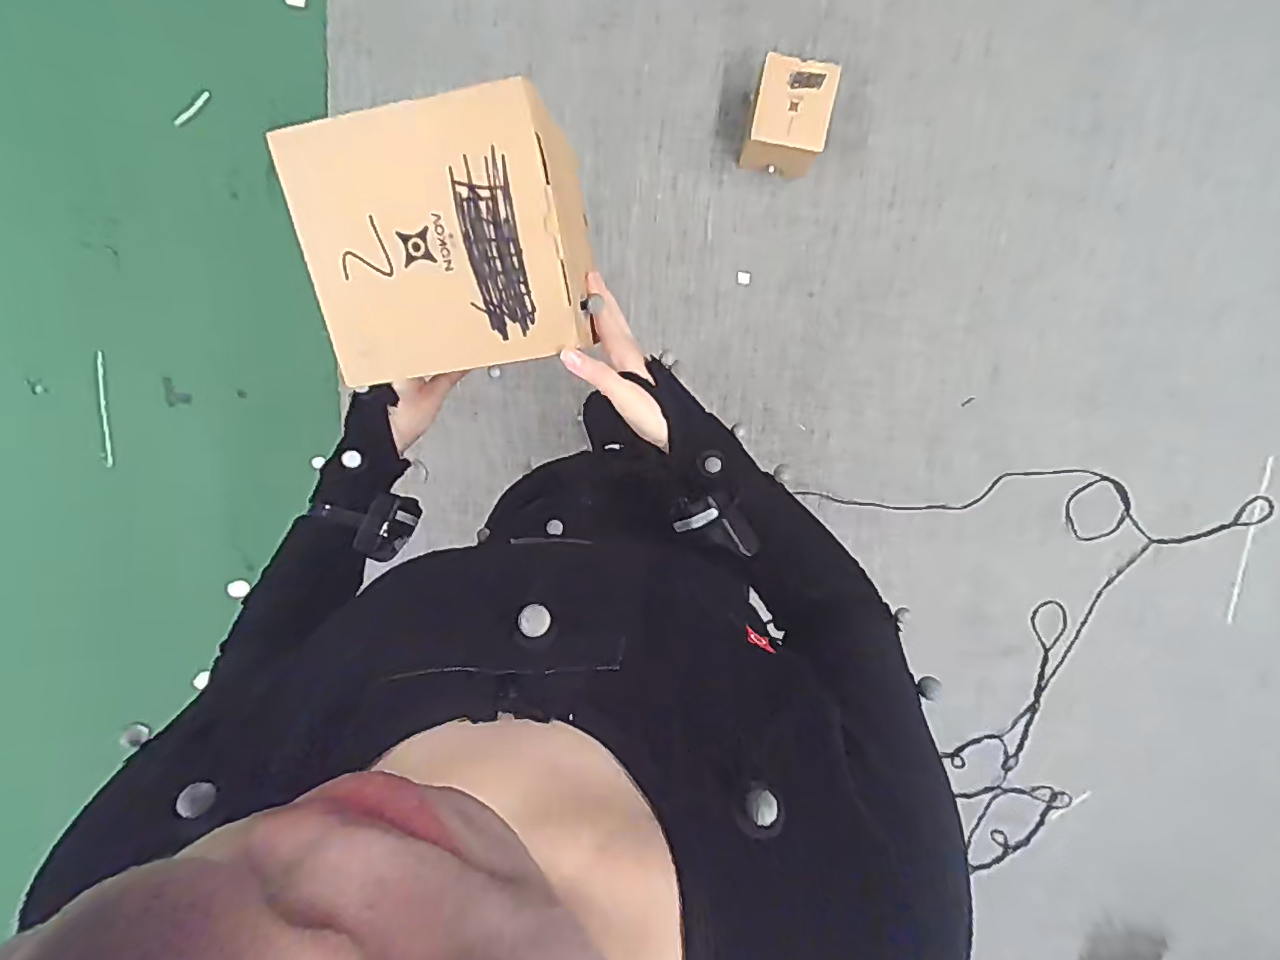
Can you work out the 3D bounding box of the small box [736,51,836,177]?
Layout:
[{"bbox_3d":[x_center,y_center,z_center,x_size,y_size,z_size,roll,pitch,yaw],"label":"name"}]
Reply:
[{"bbox_3d":[0.327,-0.833,1.248,0.168,0.176,0.179,10,102,-1],"label":"small box"}]
